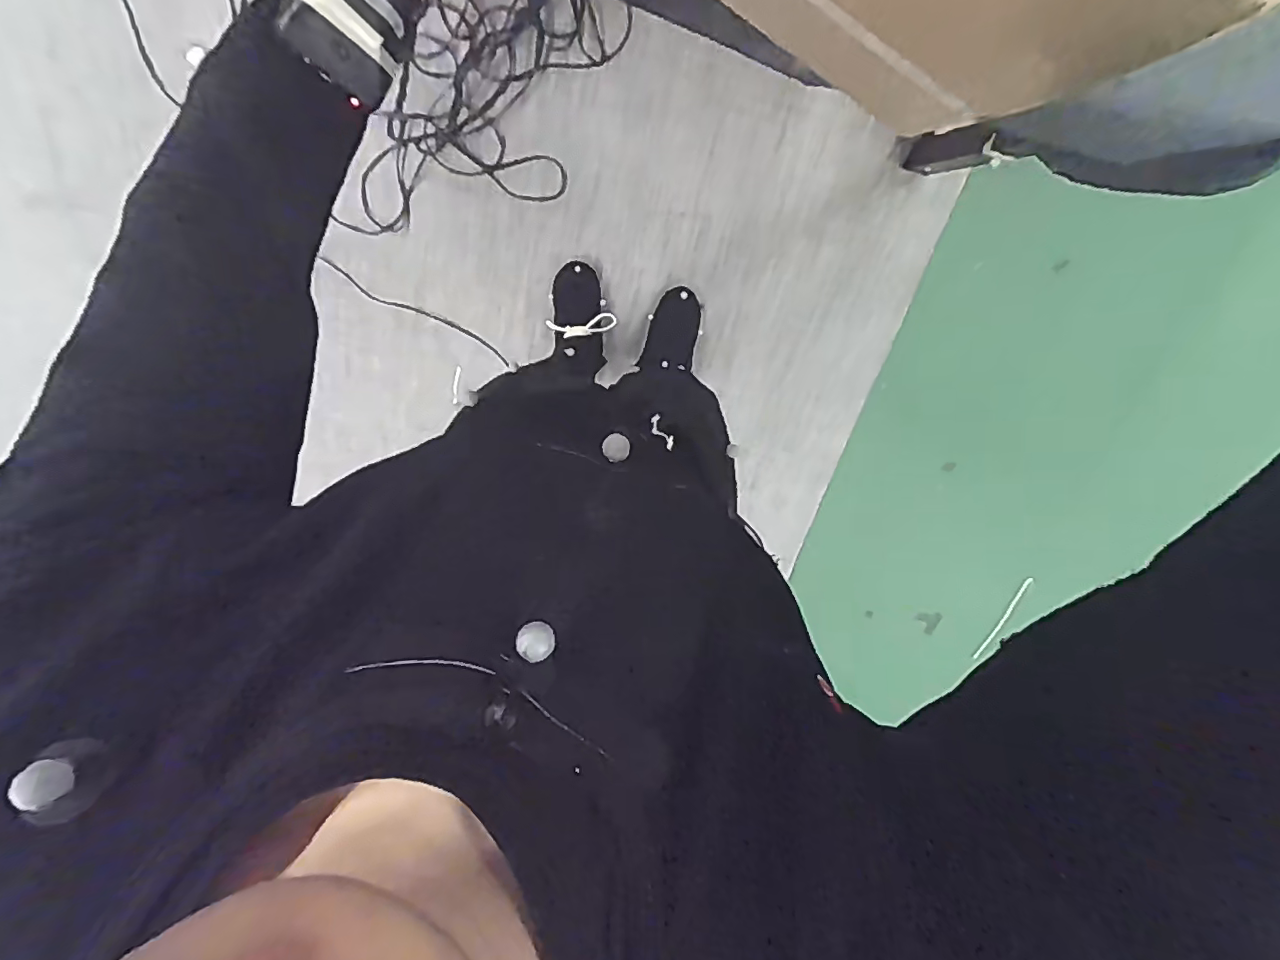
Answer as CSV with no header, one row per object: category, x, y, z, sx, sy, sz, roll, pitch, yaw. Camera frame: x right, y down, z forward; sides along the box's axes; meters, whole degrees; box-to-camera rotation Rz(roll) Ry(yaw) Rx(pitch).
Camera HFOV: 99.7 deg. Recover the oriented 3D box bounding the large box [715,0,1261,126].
large box,0.074,-0.385,0.171,0.408,0.320,0.320,30,119,-6
